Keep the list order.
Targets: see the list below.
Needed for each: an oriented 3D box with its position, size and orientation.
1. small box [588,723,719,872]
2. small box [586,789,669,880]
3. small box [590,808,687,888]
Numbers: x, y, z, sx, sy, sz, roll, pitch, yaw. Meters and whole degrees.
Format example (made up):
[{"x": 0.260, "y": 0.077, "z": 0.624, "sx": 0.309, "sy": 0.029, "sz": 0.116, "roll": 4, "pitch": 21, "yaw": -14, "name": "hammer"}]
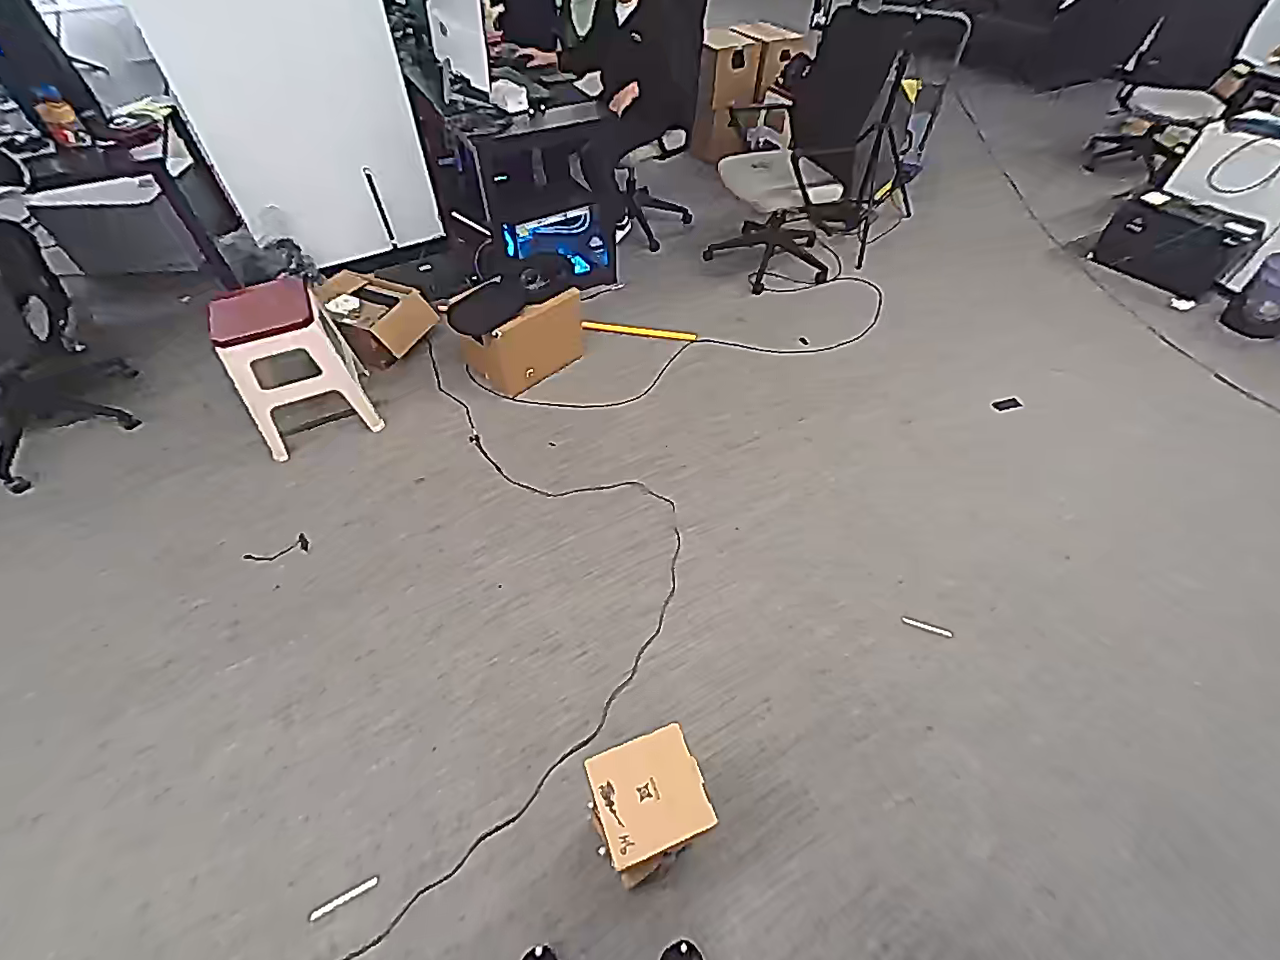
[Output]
[{"x": 0.015, "y": 0.558, "z": 0.949, "sx": 0.179, "sy": 0.176, "sz": 0.168, "roll": -16, "pitch": 54, "yaw": -15, "name": "small box"}, {"x": 0.011, "y": 0.659, "z": 1.078, "sx": 0.179, "sy": 0.176, "sz": 0.168, "roll": -28, "pitch": 58, "yaw": -23, "name": "small box"}, {"x": 0.005, "y": 0.765, "z": 1.201, "sx": 0.179, "sy": 0.176, "sz": 0.168, "roll": -27, "pitch": 56, "yaw": -19, "name": "small box"}]
